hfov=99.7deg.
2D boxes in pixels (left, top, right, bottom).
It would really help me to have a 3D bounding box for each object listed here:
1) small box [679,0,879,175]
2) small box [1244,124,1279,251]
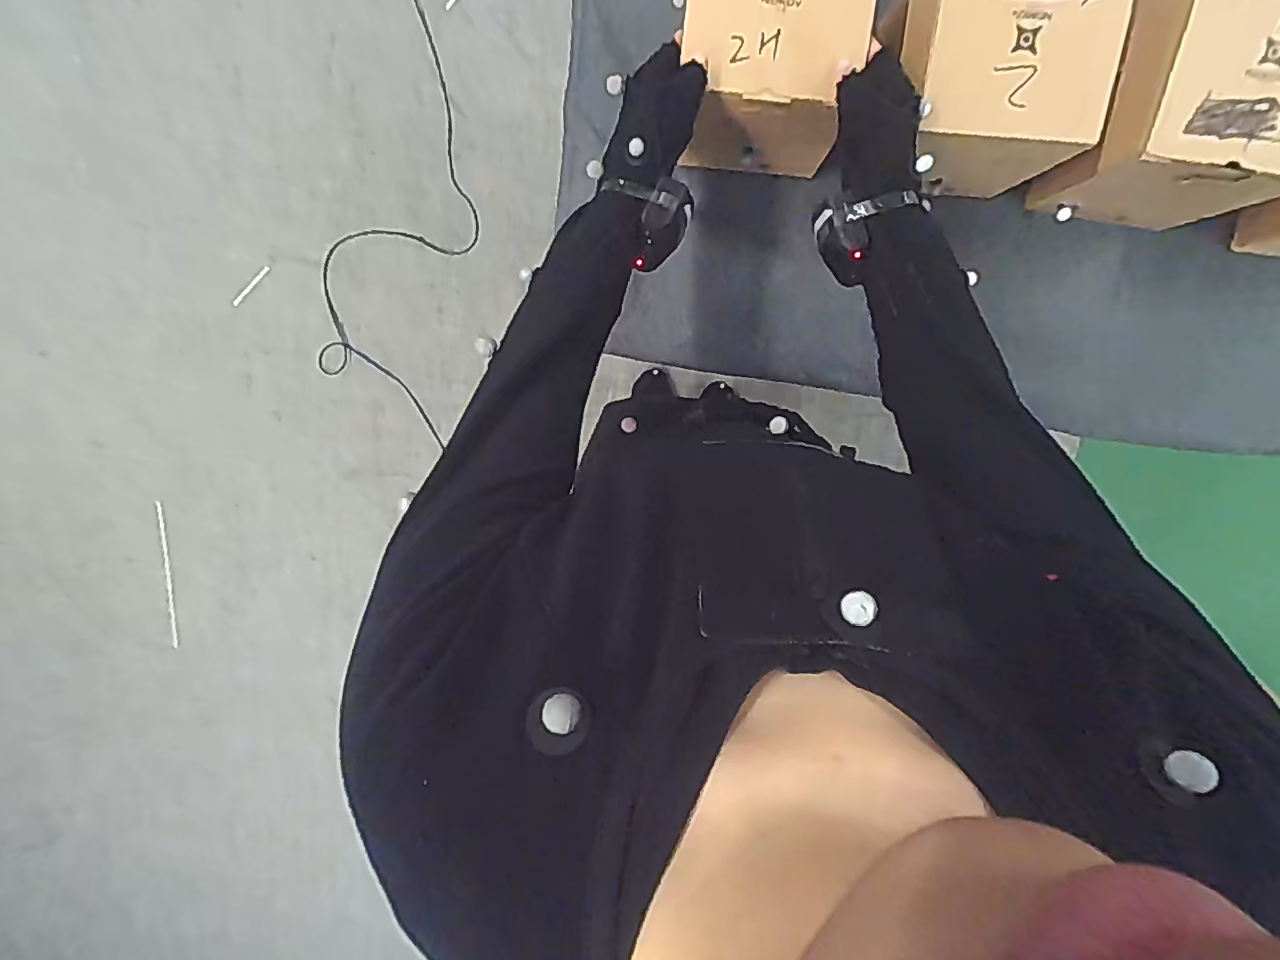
[{"bbox_3d":[0.130,-0.440,0.544,0.168,0.176,0.179,7,100,3],"label":"small box"},{"bbox_3d":[0.795,-0.329,0.546,0.168,0.176,0.179,8,102,2],"label":"small box"}]
